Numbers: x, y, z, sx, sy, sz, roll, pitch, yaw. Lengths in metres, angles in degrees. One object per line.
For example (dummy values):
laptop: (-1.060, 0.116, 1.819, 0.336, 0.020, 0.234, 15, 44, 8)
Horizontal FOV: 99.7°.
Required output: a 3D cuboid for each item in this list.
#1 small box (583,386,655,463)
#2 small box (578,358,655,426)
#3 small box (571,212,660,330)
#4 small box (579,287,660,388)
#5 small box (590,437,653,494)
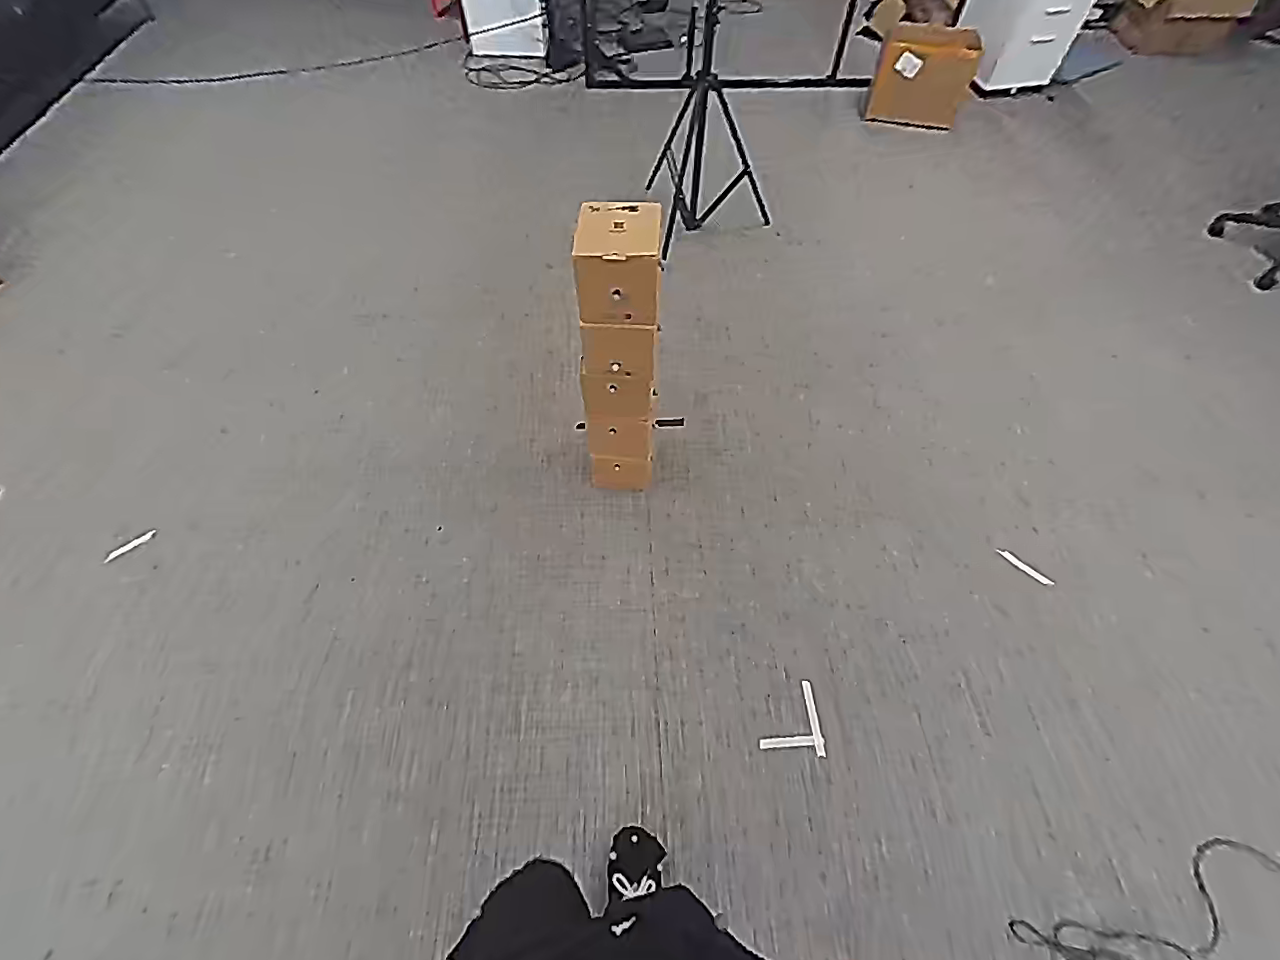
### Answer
small box: (-0.054, -0.164, 1.544, 0.179, 0.176, 0.168, 7, 59, 5)
small box: (-0.055, -0.256, 1.412, 0.179, 0.176, 0.168, 5, 59, 3)
small box: (-0.043, -0.435, 1.136, 0.168, 0.176, 0.179, 3, 59, 2)
small box: (-0.043, -0.340, 1.271, 0.168, 0.176, 0.179, 4, 59, 4)
small box: (-0.053, -0.069, 1.679, 0.179, 0.176, 0.168, 5, 58, 3)
